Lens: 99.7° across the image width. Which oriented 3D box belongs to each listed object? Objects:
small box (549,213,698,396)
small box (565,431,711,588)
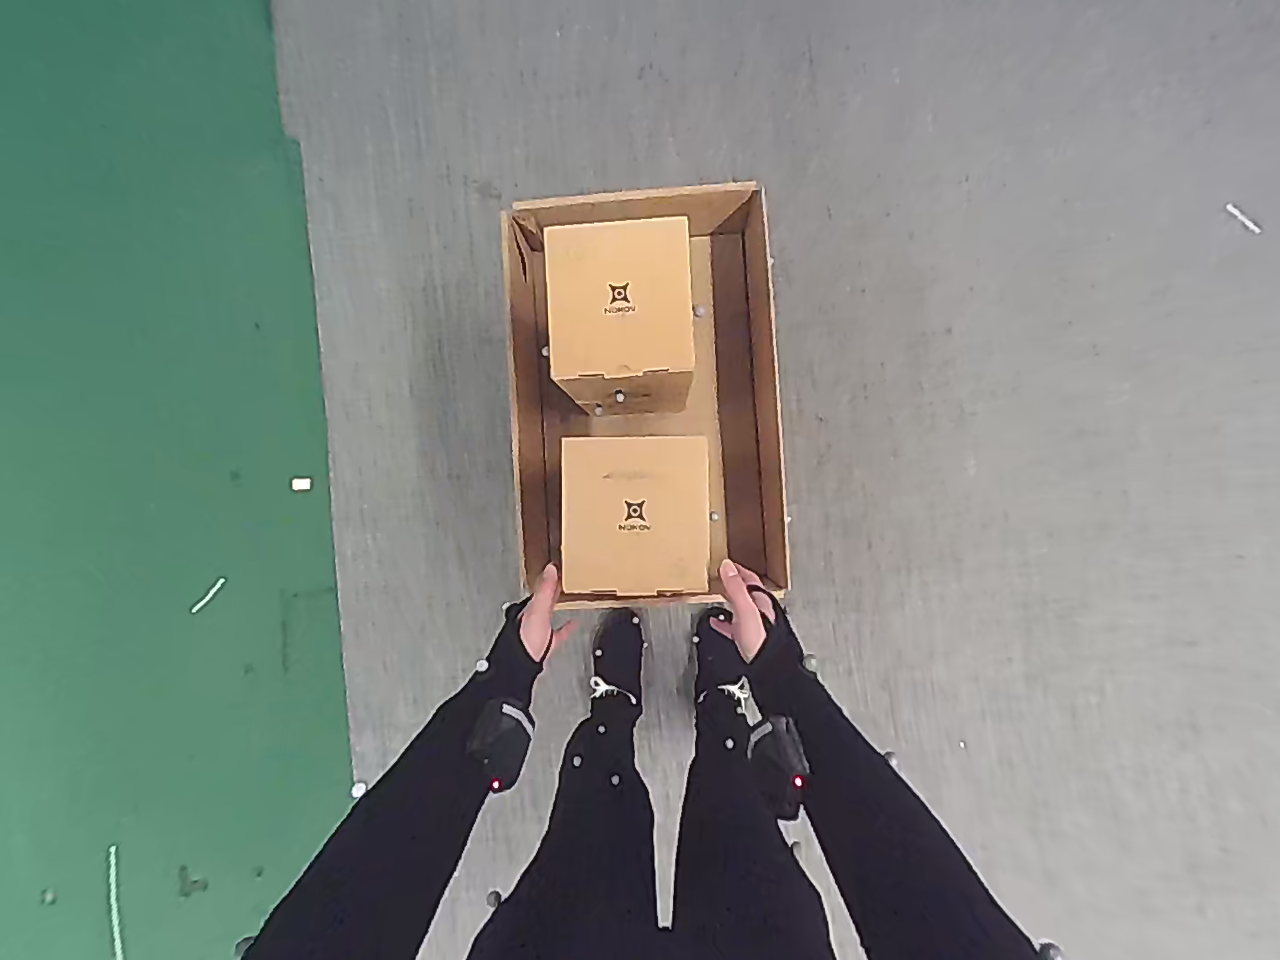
[{"bbox_3d":[-0.017,-0.211,0.690,0.168,0.176,0.179,-3,90,2],"label":"small box"},{"bbox_3d":[0.001,0.033,0.680,0.168,0.176,0.179,0,88,2],"label":"small box"}]
